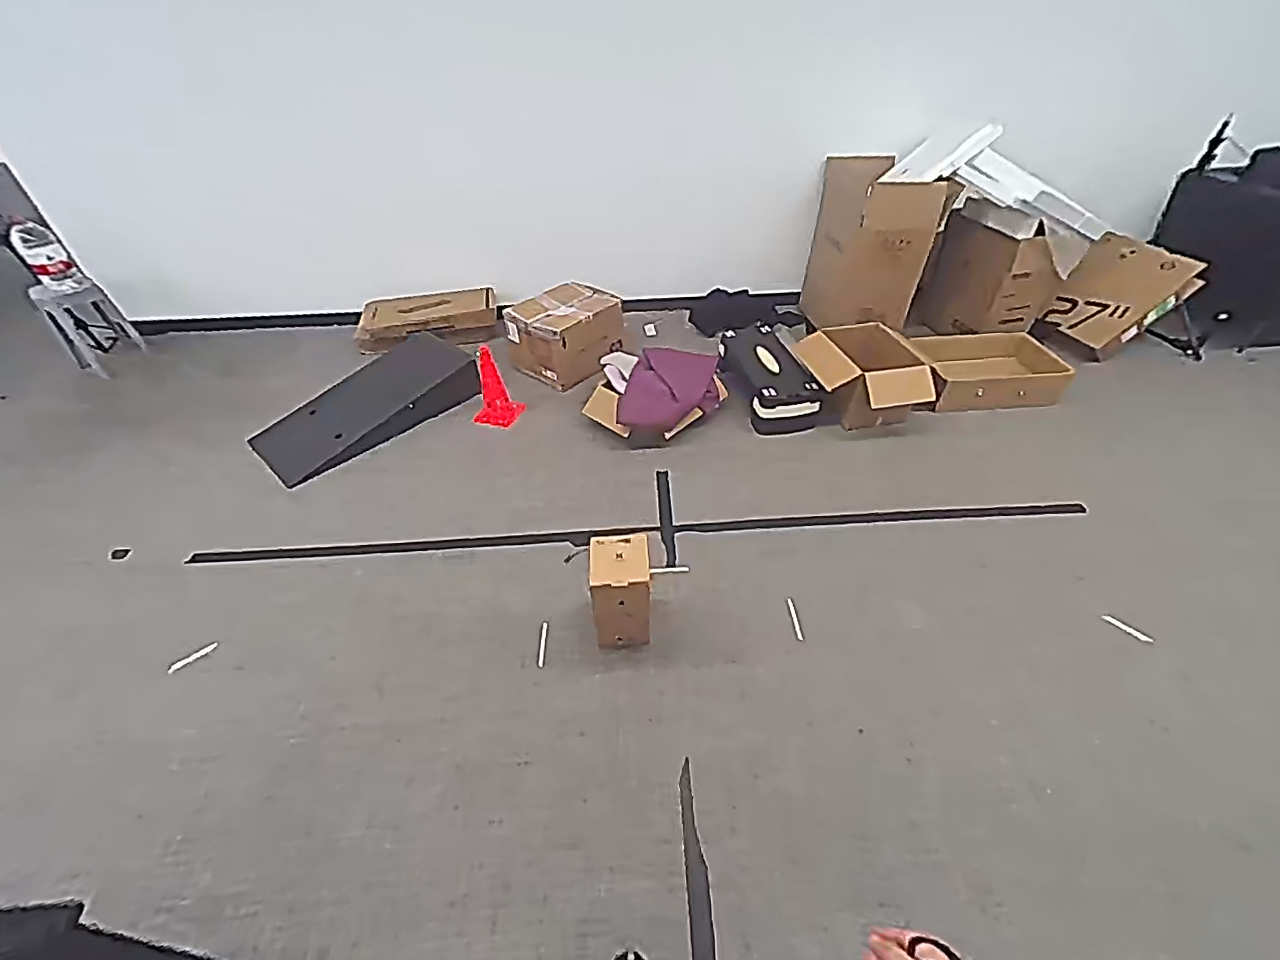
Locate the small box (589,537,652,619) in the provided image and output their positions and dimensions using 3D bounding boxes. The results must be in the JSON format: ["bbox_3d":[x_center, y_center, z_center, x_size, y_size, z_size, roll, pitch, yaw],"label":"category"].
[{"bbox_3d":[-0.054,0.288,1.555,0.168,0.176,0.179,-4,42,0],"label":"small box"}]

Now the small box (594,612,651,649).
[{"bbox_3d":[-0.053,0.399,1.677,0.168,0.176,0.179,-5,43,-1],"label":"small box"}]
